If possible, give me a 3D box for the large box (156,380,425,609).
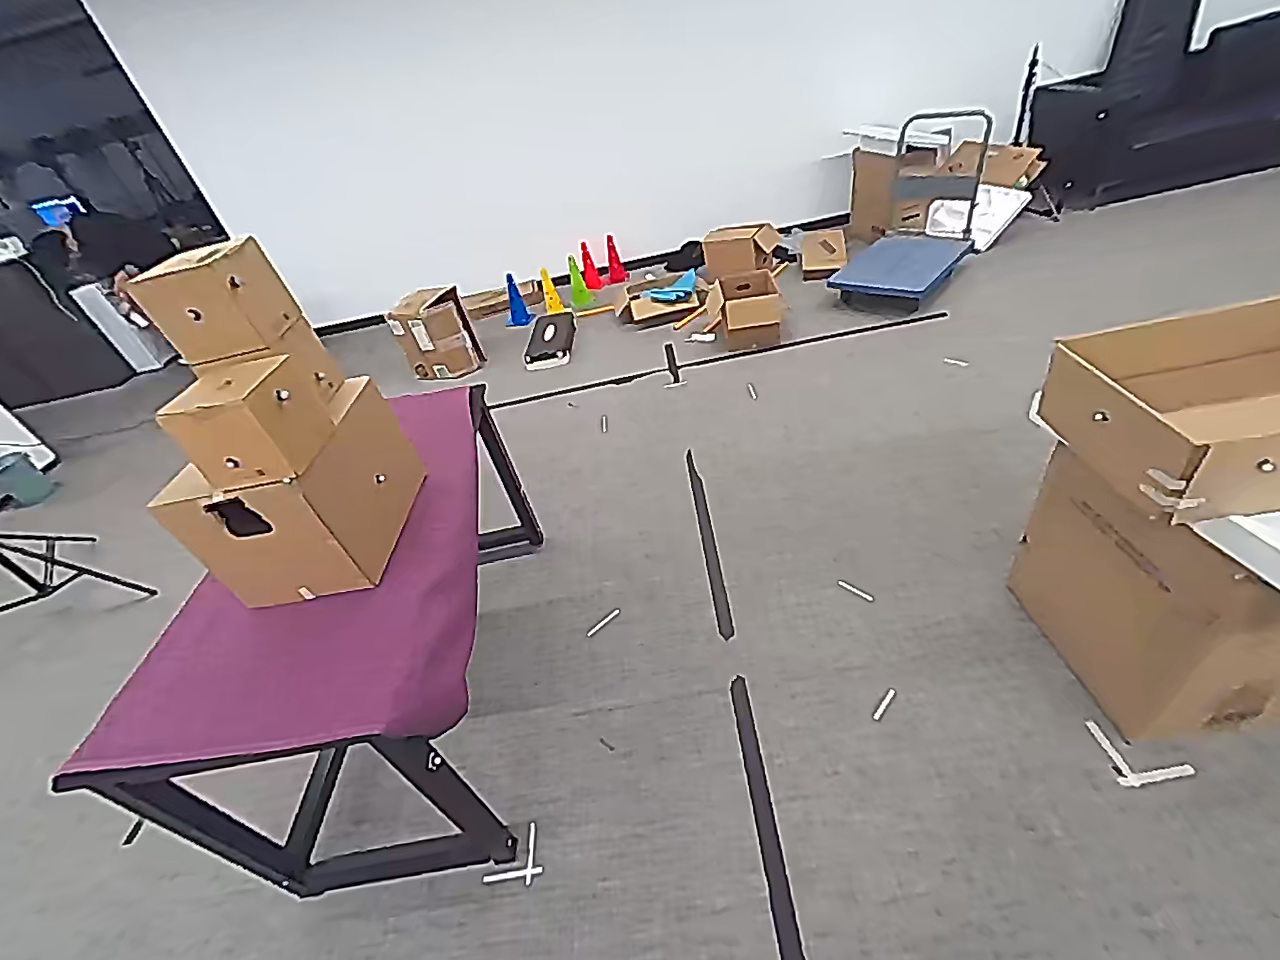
[{"bbox_3d":[-0.744,0.025,1.244,0.320,0.320,0.408,-12,39,6],"label":"large box"}]

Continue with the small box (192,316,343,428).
[{"bbox_3d":[-0.796,-0.232,1.178,0.179,0.176,0.168,-11,40,5],"label":"small box"}]
